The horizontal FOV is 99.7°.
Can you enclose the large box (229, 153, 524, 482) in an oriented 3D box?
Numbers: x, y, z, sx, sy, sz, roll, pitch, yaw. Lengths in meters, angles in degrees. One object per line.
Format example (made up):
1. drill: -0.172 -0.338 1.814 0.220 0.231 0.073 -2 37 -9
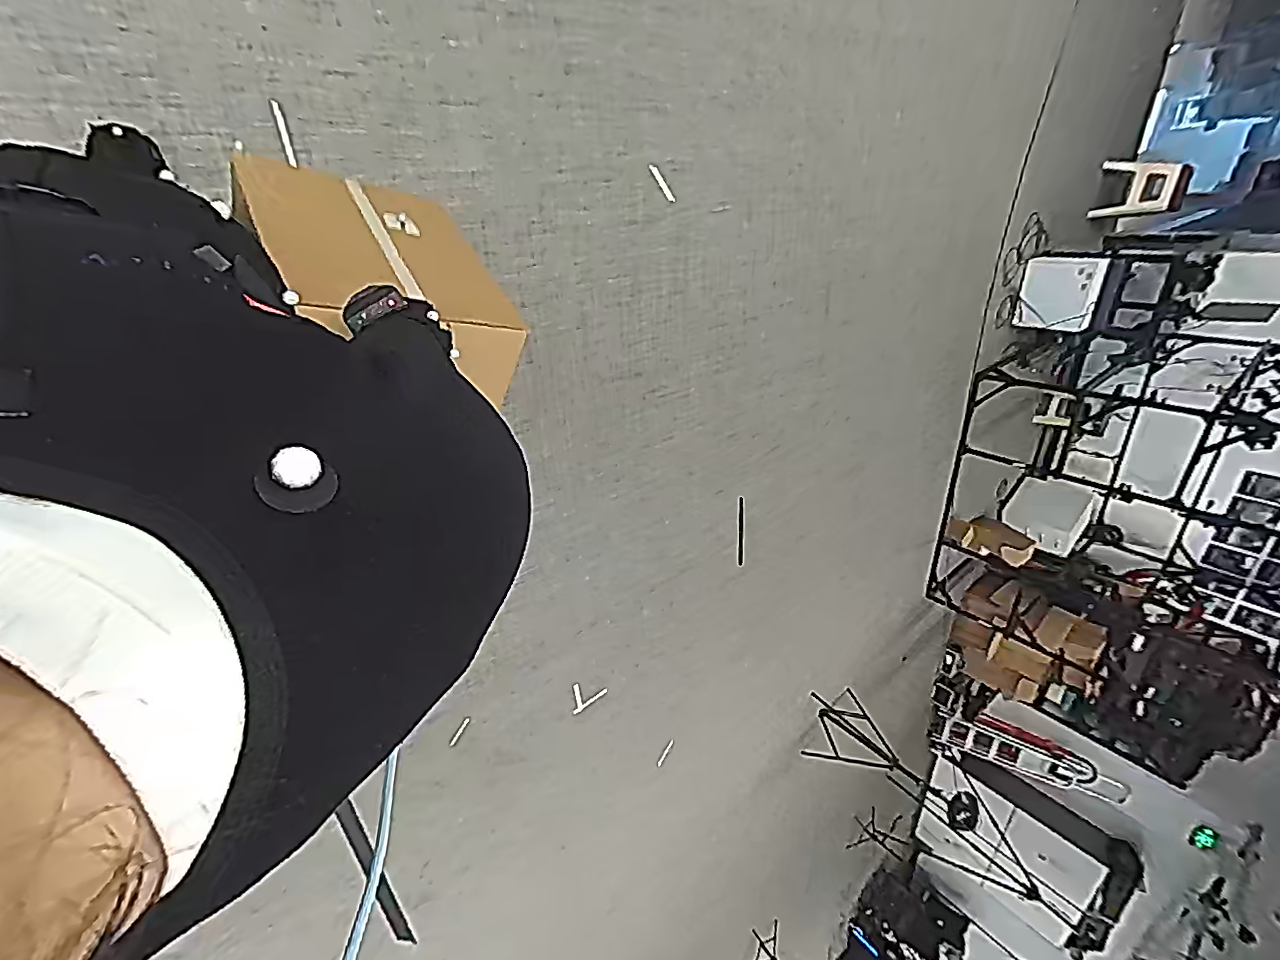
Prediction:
1. large box: -0.452 -0.253 0.891 0.320 0.408 0.320 -7 141 -43
